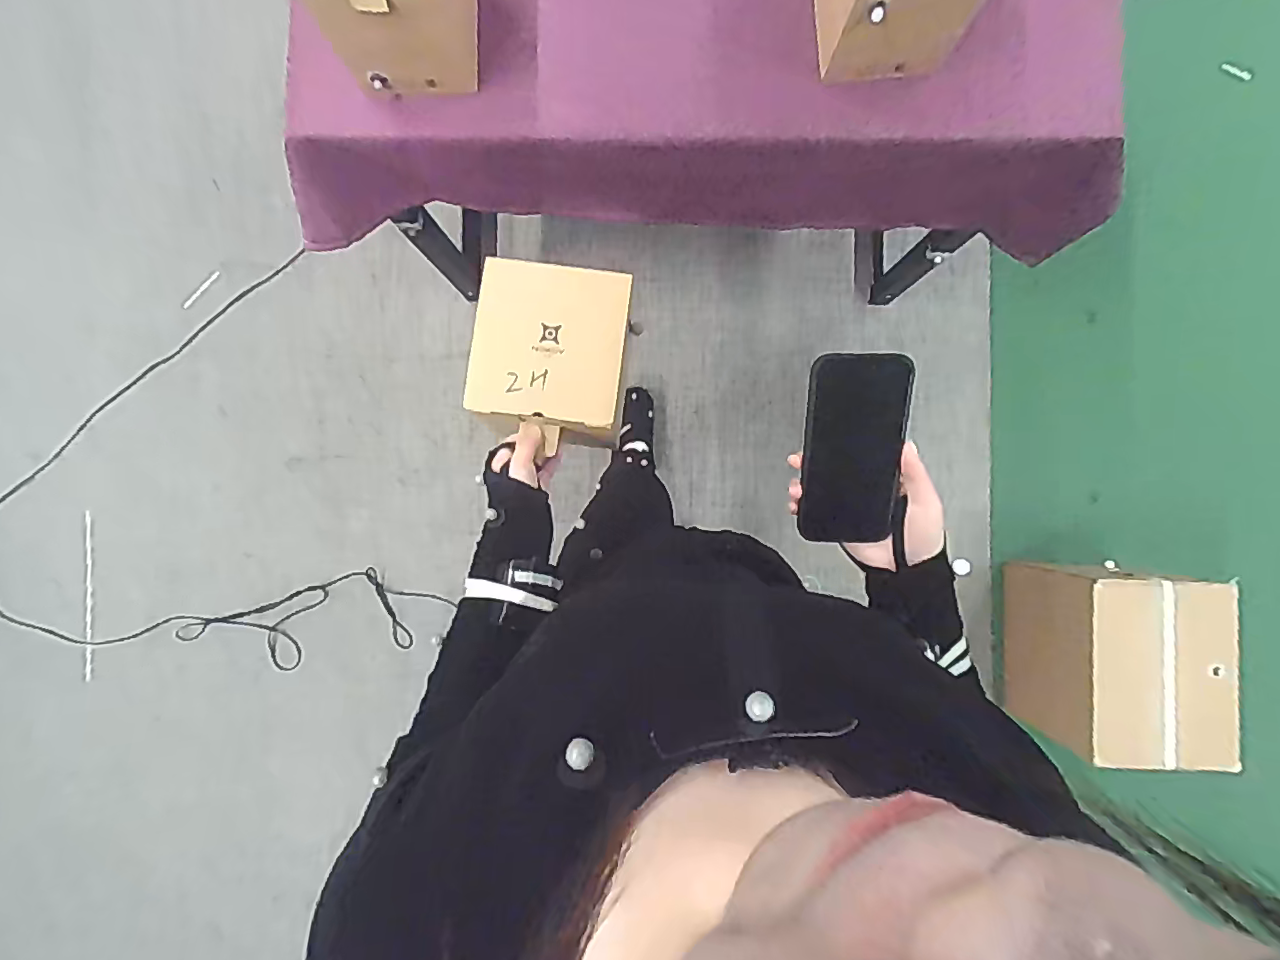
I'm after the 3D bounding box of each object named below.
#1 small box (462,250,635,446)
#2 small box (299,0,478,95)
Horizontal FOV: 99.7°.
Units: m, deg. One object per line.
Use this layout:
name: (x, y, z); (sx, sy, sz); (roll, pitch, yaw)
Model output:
small box: (-0.100, -0.149, 0.665); (0.168, 0.176, 0.179); (8, 85, 1)
small box: (-0.318, -0.644, 0.709); (0.168, 0.176, 0.179); (-1, 87, 0)
